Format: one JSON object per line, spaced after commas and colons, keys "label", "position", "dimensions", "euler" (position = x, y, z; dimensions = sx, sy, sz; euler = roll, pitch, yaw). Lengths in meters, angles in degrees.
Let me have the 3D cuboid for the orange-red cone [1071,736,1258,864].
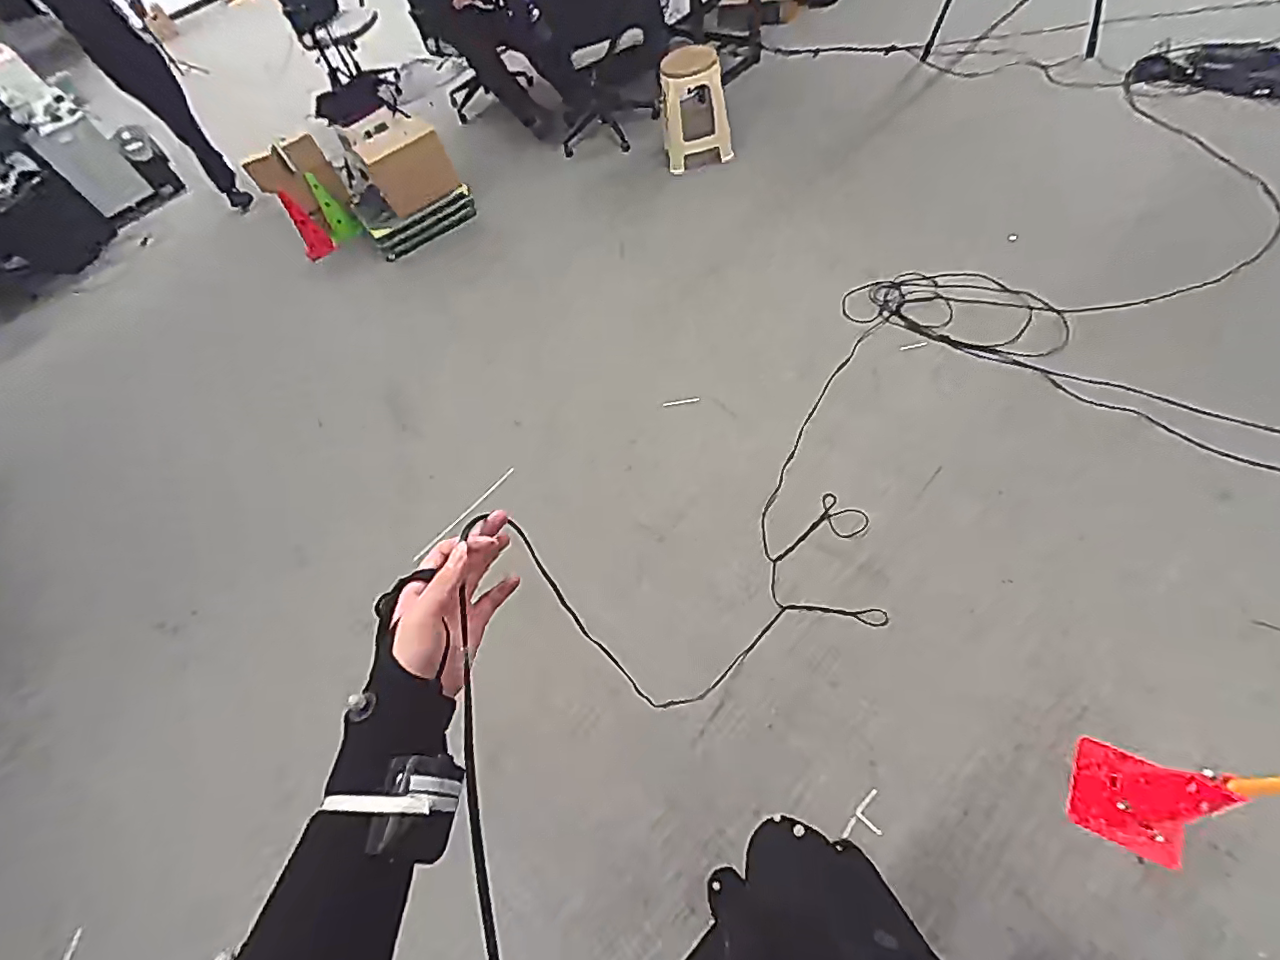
{"label": "orange-red cone", "position": [1.047, 0.606, 1.054], "dimensions": [0.198, 0.360, 0.199], "euler": [21, 64, 24]}
